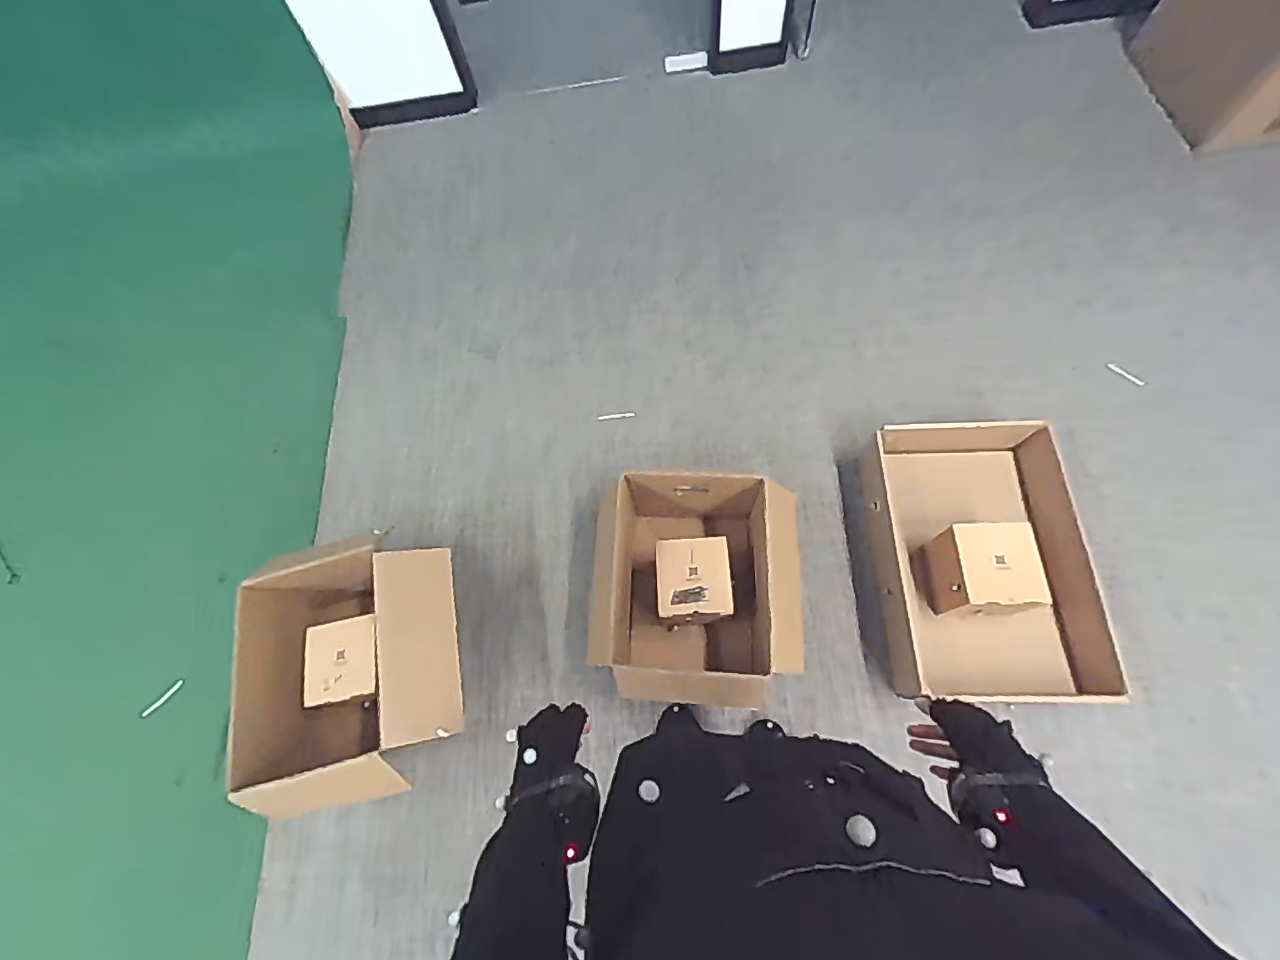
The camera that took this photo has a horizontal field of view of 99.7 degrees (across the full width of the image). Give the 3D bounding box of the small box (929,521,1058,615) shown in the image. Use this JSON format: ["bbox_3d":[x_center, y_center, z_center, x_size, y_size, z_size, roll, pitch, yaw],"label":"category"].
[{"bbox_3d":[0.773,0.200,1.206,0.168,0.176,0.179,-2,68,5],"label":"small box"}]
